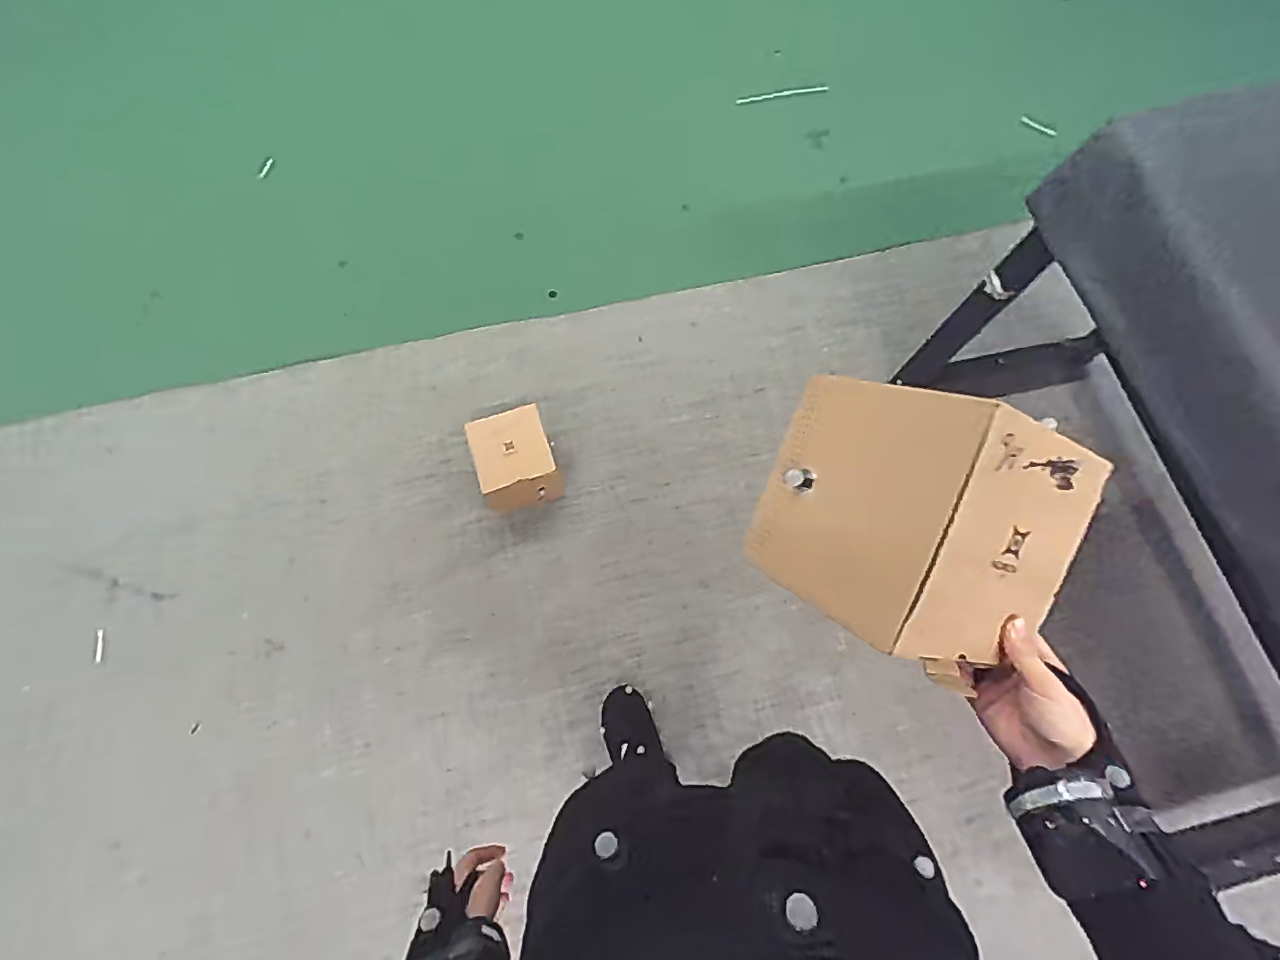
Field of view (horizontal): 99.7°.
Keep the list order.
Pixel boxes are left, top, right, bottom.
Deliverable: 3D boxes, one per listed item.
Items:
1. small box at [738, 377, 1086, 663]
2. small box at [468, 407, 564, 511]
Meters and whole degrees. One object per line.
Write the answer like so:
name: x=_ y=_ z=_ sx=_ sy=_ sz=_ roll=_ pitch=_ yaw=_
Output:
small box: x=0.208 y=0.026 z=0.452 sx=0.168 sy=0.176 sz=0.179 roll=14 pitch=99 yaw=-29
small box: x=-0.282 y=-0.039 z=1.262 sx=0.168 sy=0.176 sz=0.179 roll=-18 pitch=72 yaw=-8
